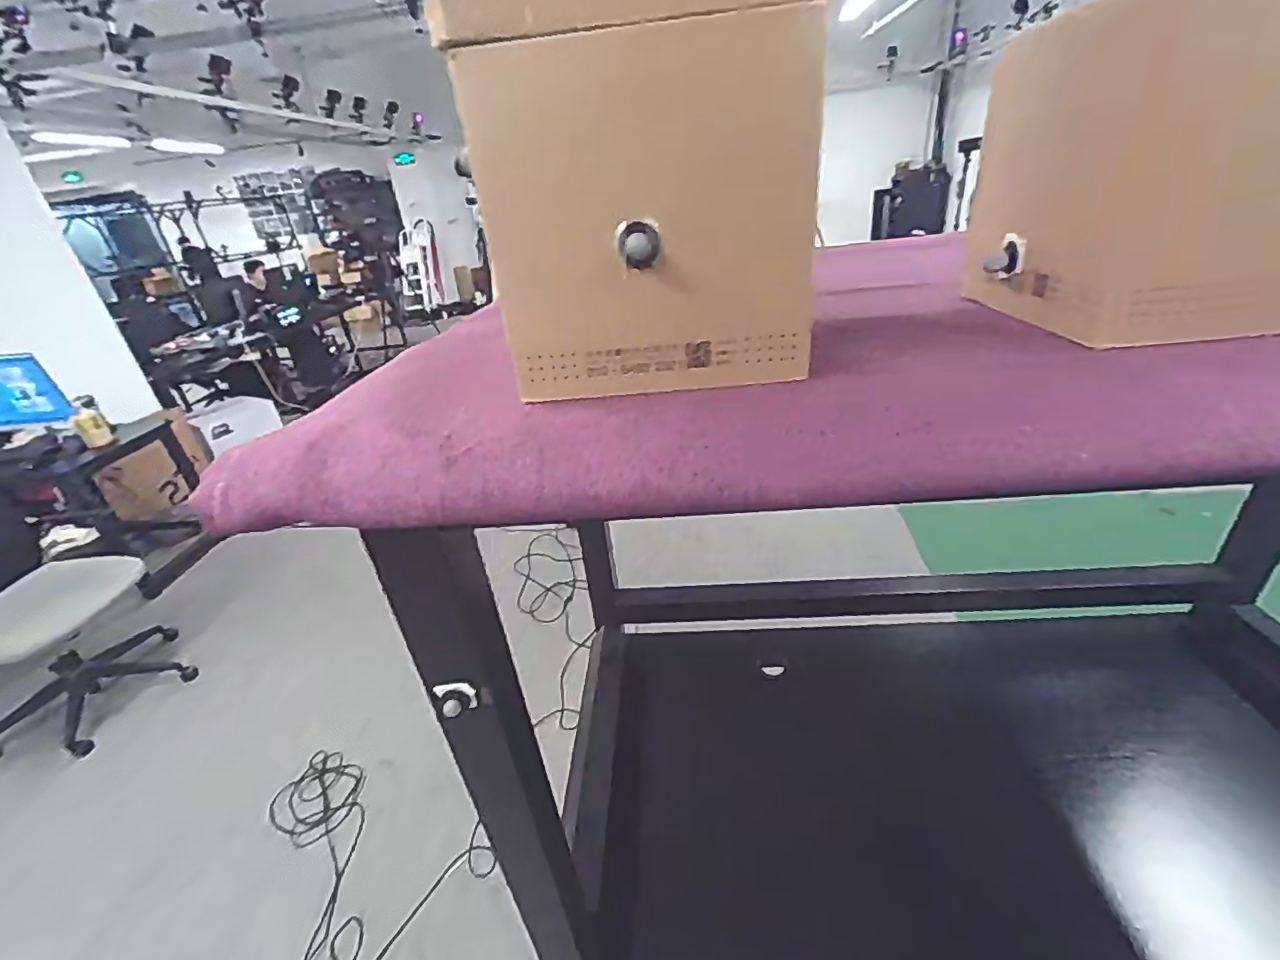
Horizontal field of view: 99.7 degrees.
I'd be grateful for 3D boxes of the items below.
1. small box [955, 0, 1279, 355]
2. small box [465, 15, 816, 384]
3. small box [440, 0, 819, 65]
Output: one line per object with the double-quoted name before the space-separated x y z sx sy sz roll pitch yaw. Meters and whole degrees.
"small box" 0.329 -0.185 0.333 0.179 0.176 0.168 -5 27 5
"small box" 0.009 -0.165 0.353 0.168 0.176 0.179 -3 28 4
"small box" -0.011 -0.306 0.275 0.179 0.176 0.168 -4 29 2
